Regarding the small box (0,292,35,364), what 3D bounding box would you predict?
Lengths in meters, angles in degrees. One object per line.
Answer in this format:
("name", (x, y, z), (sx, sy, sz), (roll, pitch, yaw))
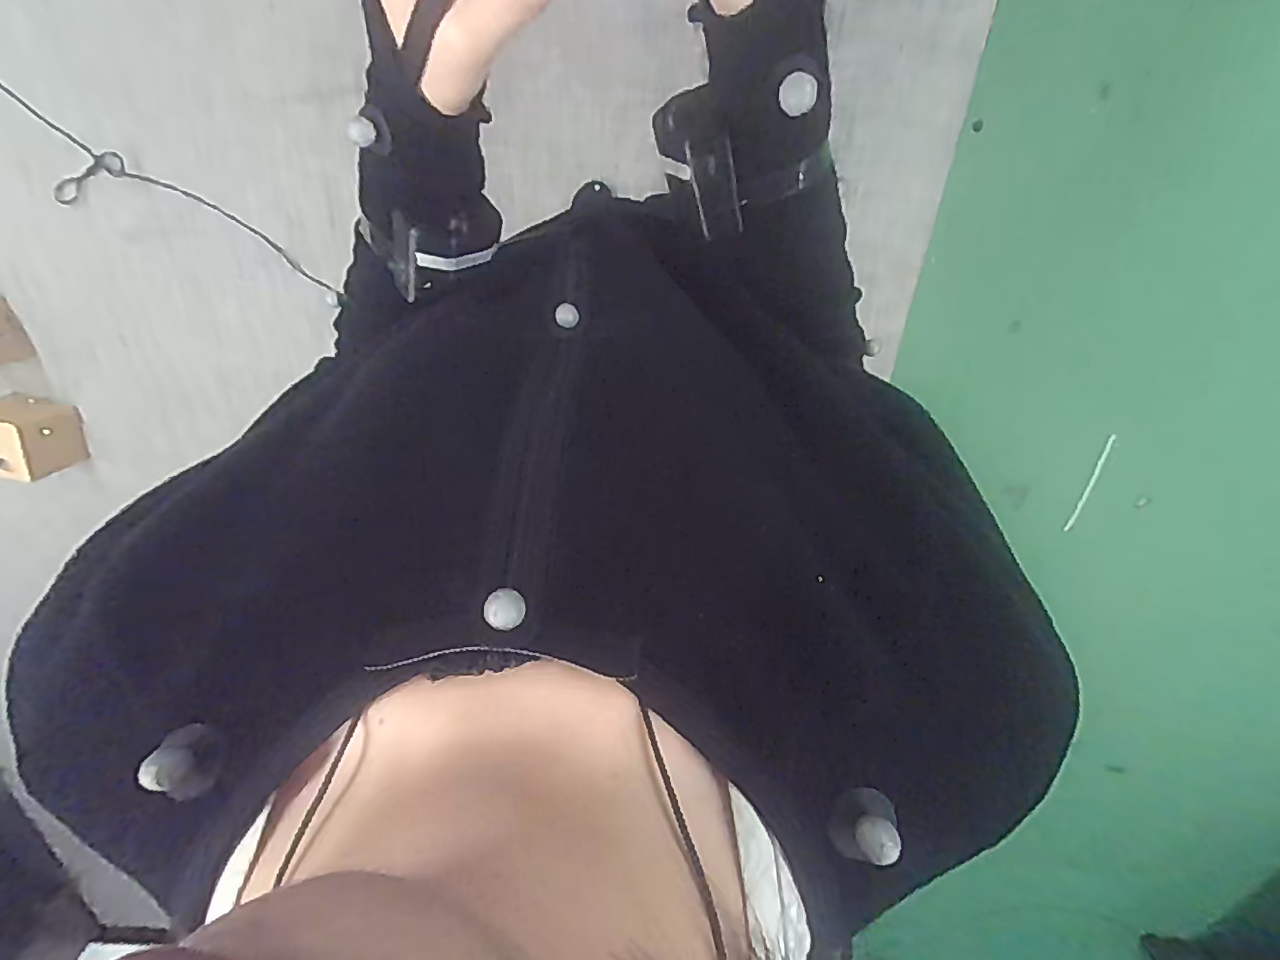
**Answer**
("small box", (-1.718, -0.379, 1.371), (0.179, 0.176, 0.168), (-2, 117, 3))
